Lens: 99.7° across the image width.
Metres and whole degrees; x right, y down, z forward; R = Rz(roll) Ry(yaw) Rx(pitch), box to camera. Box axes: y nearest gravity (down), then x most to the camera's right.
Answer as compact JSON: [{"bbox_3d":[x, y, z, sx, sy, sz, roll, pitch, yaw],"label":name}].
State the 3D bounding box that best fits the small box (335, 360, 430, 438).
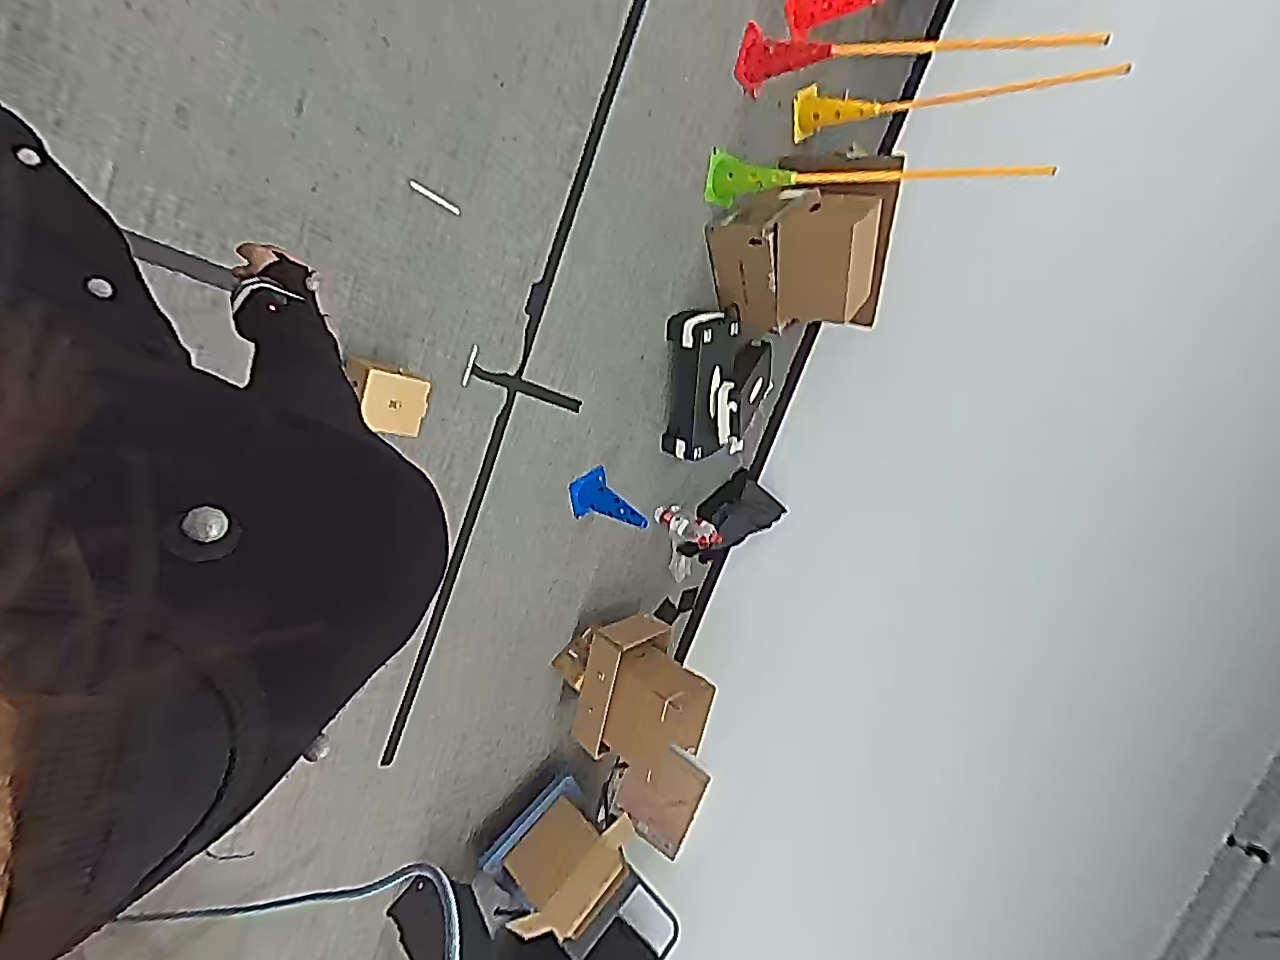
[{"bbox_3d":[-0.734,-0.232,1.532,0.179,0.176,0.168,6,106,-51],"label":"small box"}]
